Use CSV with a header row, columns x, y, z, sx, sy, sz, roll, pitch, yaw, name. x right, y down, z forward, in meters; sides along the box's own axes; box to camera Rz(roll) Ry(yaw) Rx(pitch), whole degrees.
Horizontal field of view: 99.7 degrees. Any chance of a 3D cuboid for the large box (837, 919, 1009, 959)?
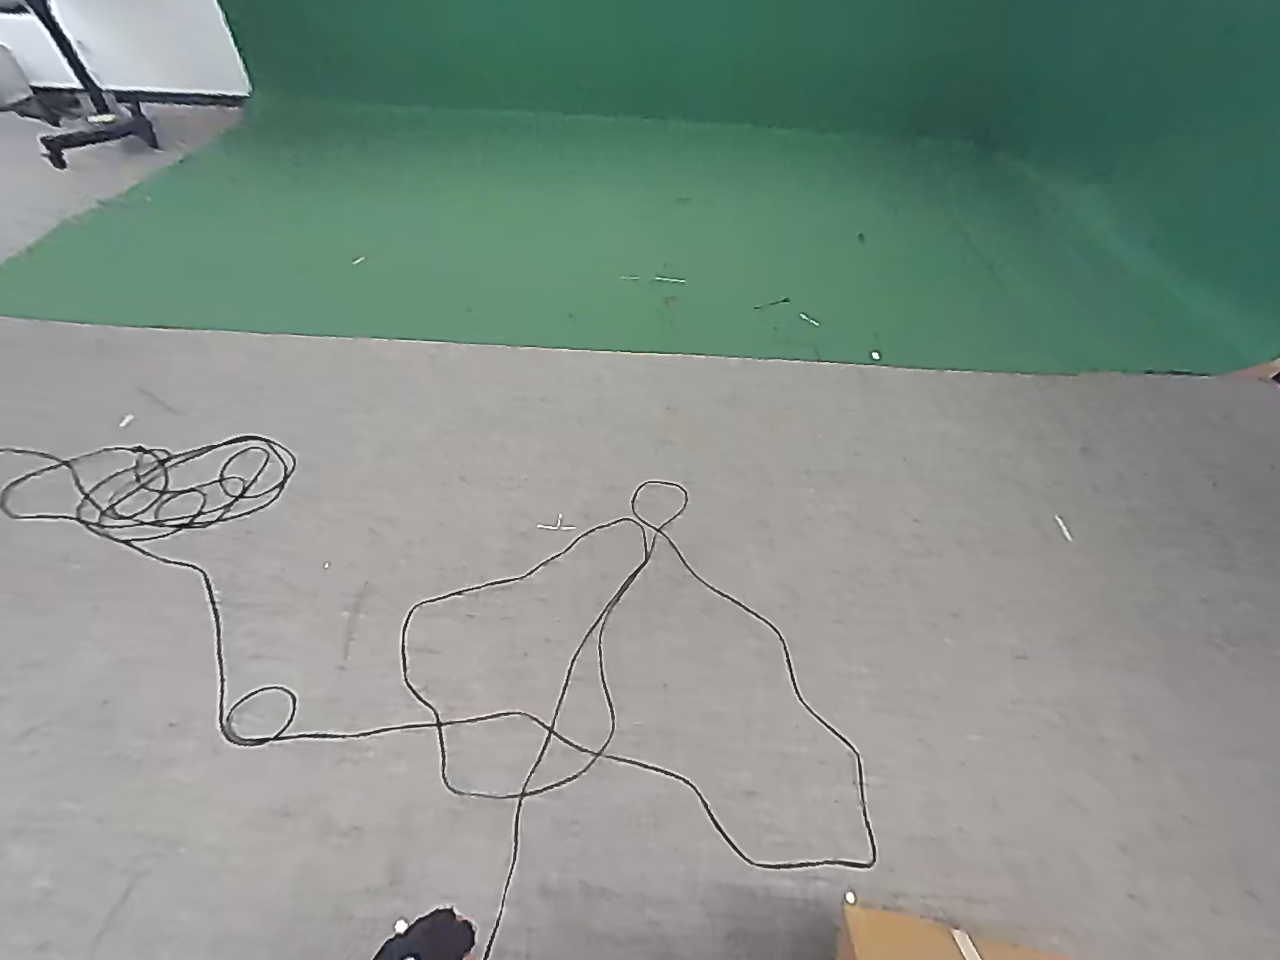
x,y,z,sx,sy,sz,roll,pitch,yaw,name
0.395,0.811,0.581,0.320,0.408,0.320,9,88,11,large box
